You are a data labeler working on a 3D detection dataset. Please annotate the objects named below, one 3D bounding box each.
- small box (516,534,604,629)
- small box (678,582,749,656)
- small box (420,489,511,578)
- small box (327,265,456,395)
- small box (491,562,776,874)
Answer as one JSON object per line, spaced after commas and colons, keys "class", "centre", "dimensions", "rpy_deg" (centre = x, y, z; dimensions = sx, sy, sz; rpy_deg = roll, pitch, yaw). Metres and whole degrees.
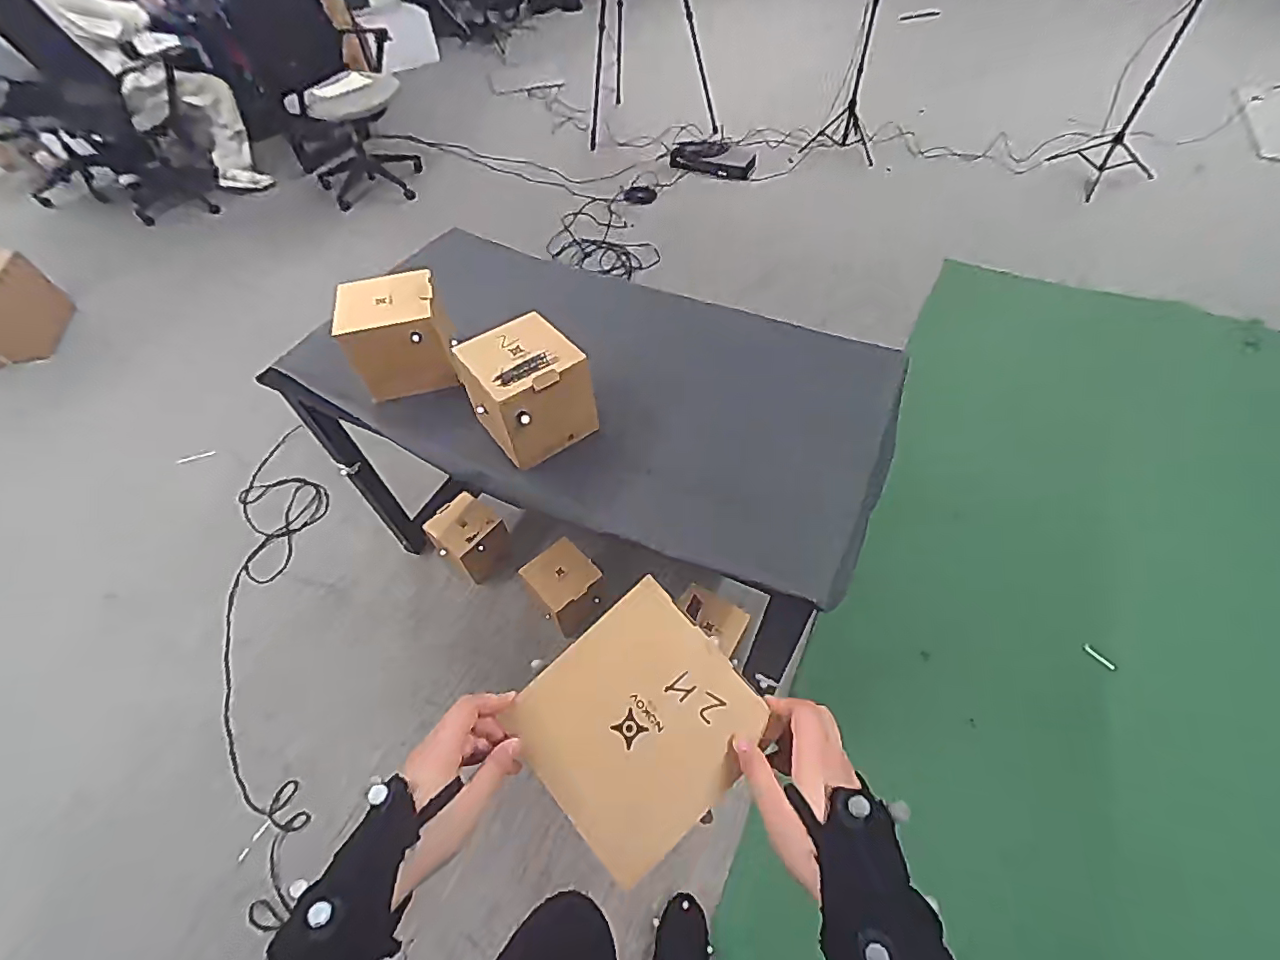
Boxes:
{"class": "small box", "centre": [-0.216, 0.292, 1.512], "dimensions": [0.168, 0.176, 0.179], "rpy_deg": [-37, 58, -23]}
{"class": "small box", "centre": [0.160, 0.402, 1.405], "dimensions": [0.179, 0.176, 0.168], "rpy_deg": [26, 59, 20]}
{"class": "small box", "centre": [-0.518, 0.165, 1.628], "dimensions": [0.179, 0.176, 0.168], "rpy_deg": [31, 61, 25]}
{"class": "small box", "centre": [-0.475, -0.288, 1.055], "dimensions": [0.179, 0.176, 0.168], "rpy_deg": [-14, 53, -7]}
{"class": "small box", "centre": [-0.002, 0.206, 0.508], "dimensions": [0.179, 0.176, 0.168], "rpy_deg": [-42, 75, -10]}
